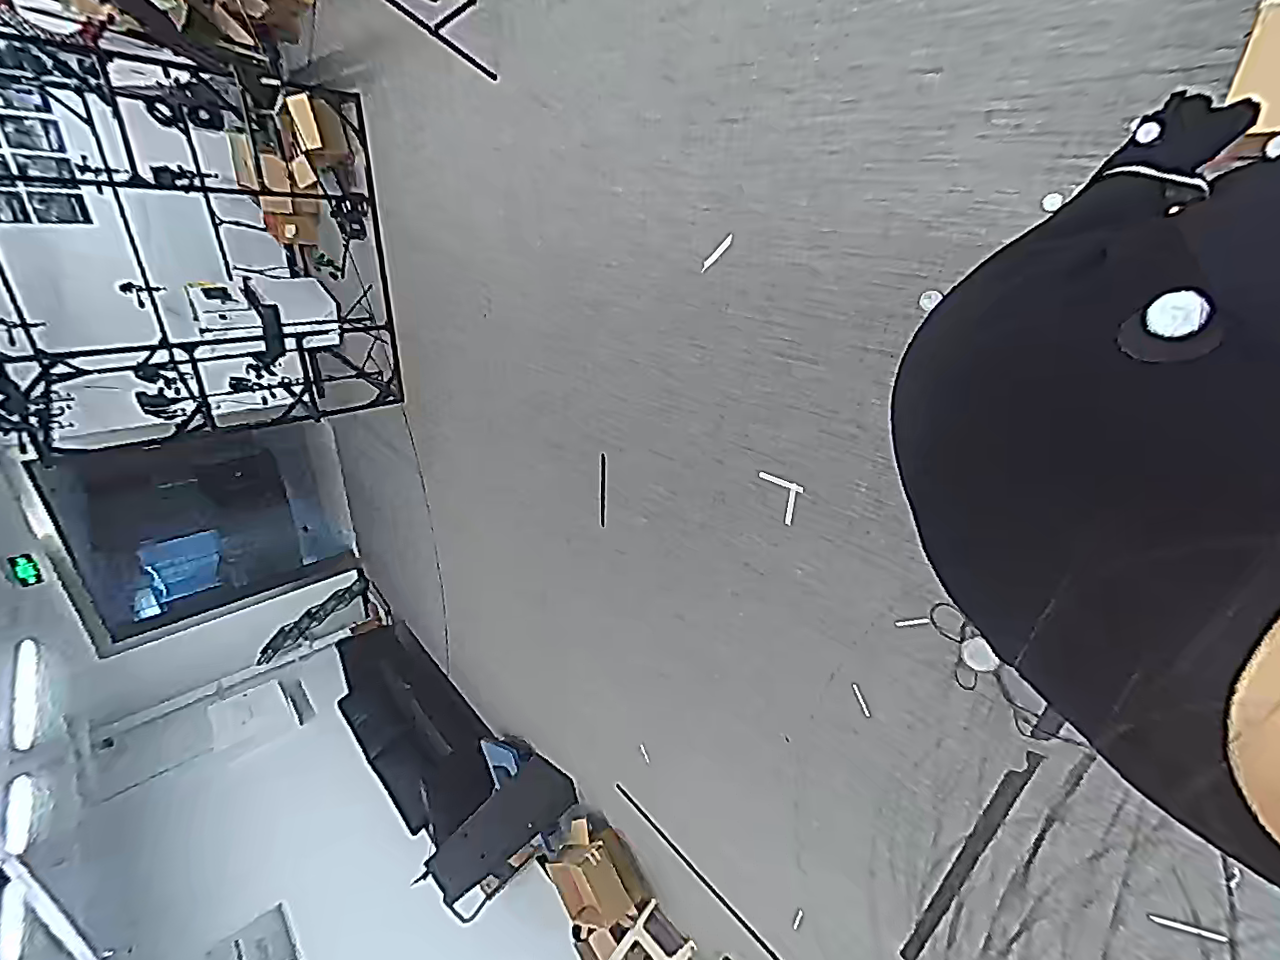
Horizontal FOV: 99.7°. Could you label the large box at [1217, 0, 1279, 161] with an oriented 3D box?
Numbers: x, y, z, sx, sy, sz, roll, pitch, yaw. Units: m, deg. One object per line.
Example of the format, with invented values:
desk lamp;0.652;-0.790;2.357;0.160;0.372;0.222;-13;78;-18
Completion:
large box;1.069;-0.606;0.679;0.408;0.320;0.320;25;124;40
